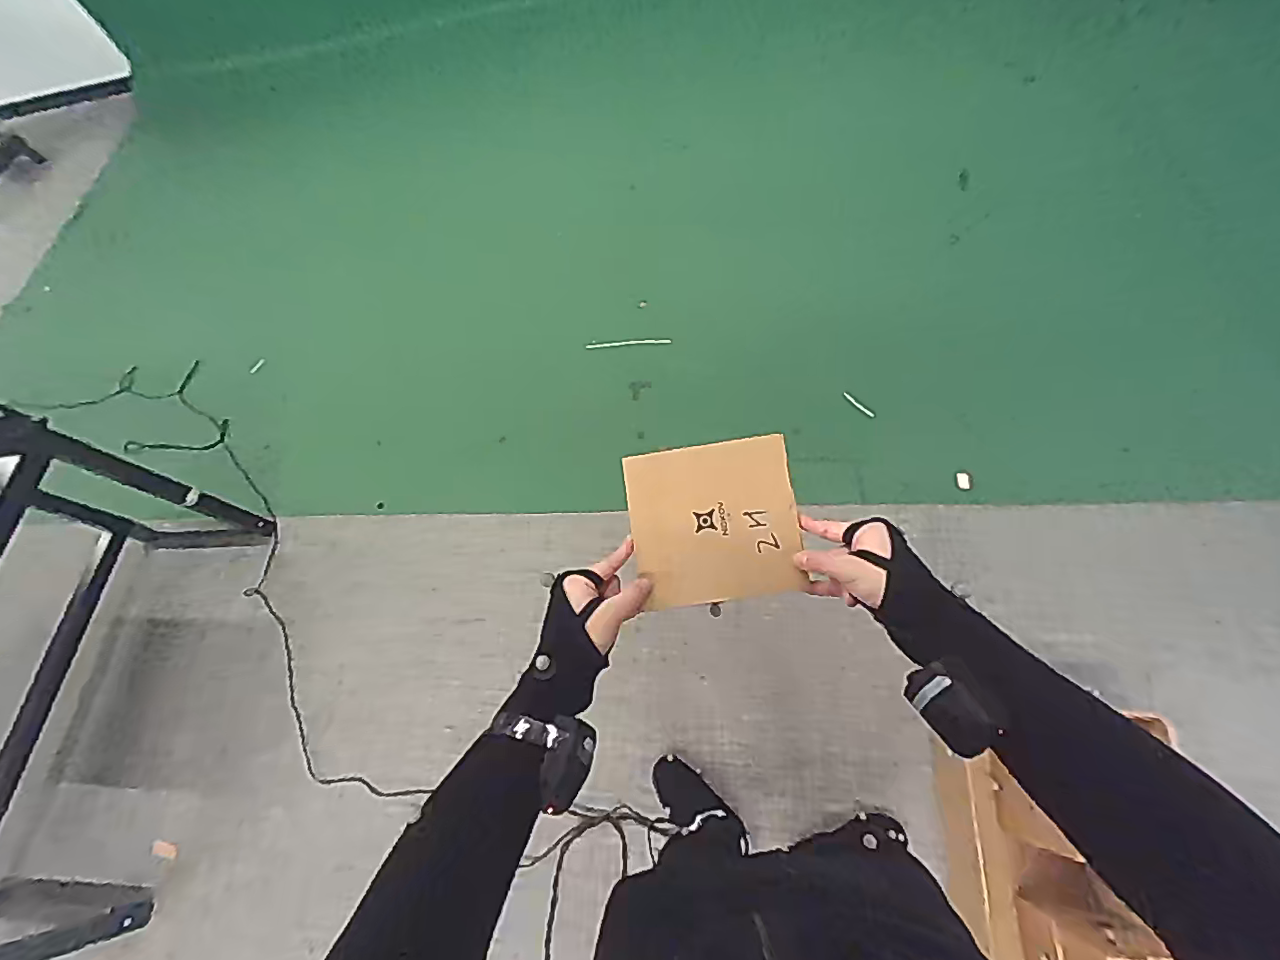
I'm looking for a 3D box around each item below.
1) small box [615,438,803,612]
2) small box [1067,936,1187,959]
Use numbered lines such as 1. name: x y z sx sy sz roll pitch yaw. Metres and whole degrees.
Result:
1. small box: 0.077 0.062 0.633 0.179 0.176 0.168 -8 78 4
2. small box: 0.817 0.854 0.847 0.168 0.176 0.179 -3 65 12
